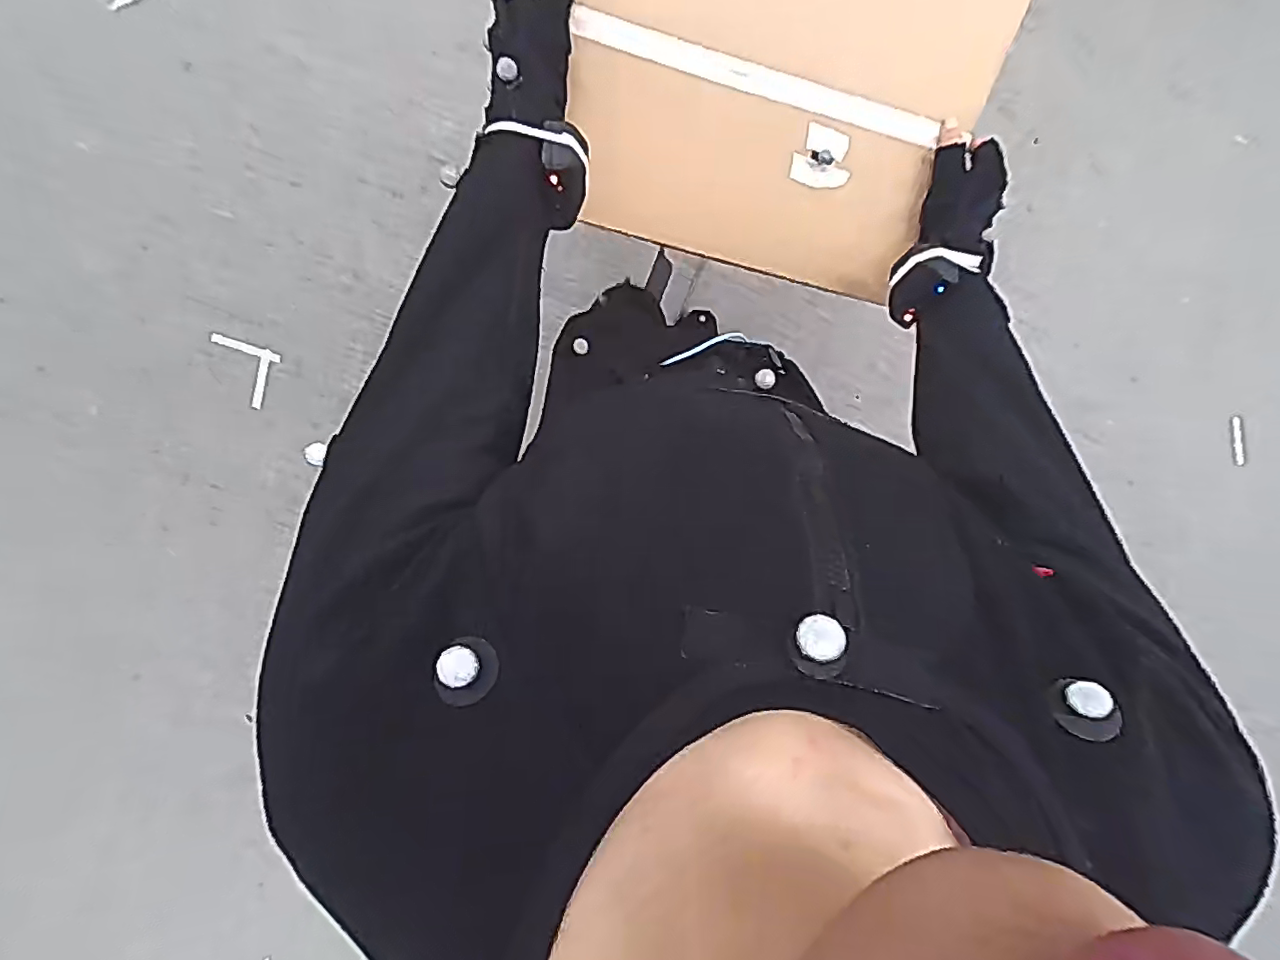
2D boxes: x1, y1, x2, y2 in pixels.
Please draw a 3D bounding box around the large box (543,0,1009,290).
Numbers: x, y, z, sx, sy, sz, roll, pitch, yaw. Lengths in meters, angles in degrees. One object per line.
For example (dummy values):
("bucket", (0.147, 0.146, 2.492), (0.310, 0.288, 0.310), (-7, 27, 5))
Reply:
("large box", (0.115, -0.446, 0.654), (0.408, 0.320, 0.320), (11, 115, -9))
